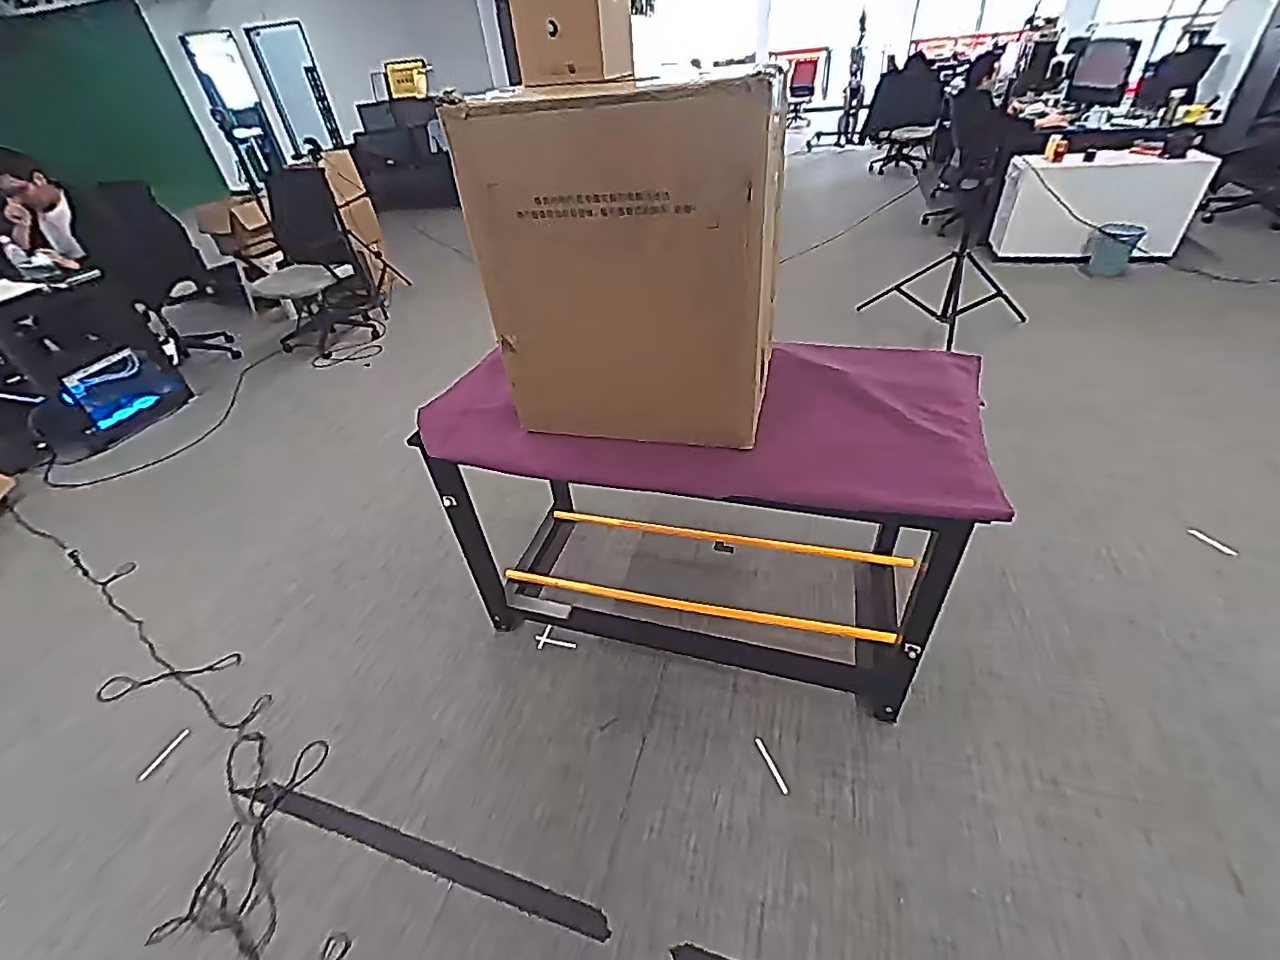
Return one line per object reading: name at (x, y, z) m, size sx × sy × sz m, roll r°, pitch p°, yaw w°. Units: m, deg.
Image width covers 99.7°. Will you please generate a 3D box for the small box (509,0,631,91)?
small box at (-0.120, -0.830, 1.003) m, size 0.168 × 0.176 × 0.179 m, roll 9°, pitch 40°, yaw 16°
